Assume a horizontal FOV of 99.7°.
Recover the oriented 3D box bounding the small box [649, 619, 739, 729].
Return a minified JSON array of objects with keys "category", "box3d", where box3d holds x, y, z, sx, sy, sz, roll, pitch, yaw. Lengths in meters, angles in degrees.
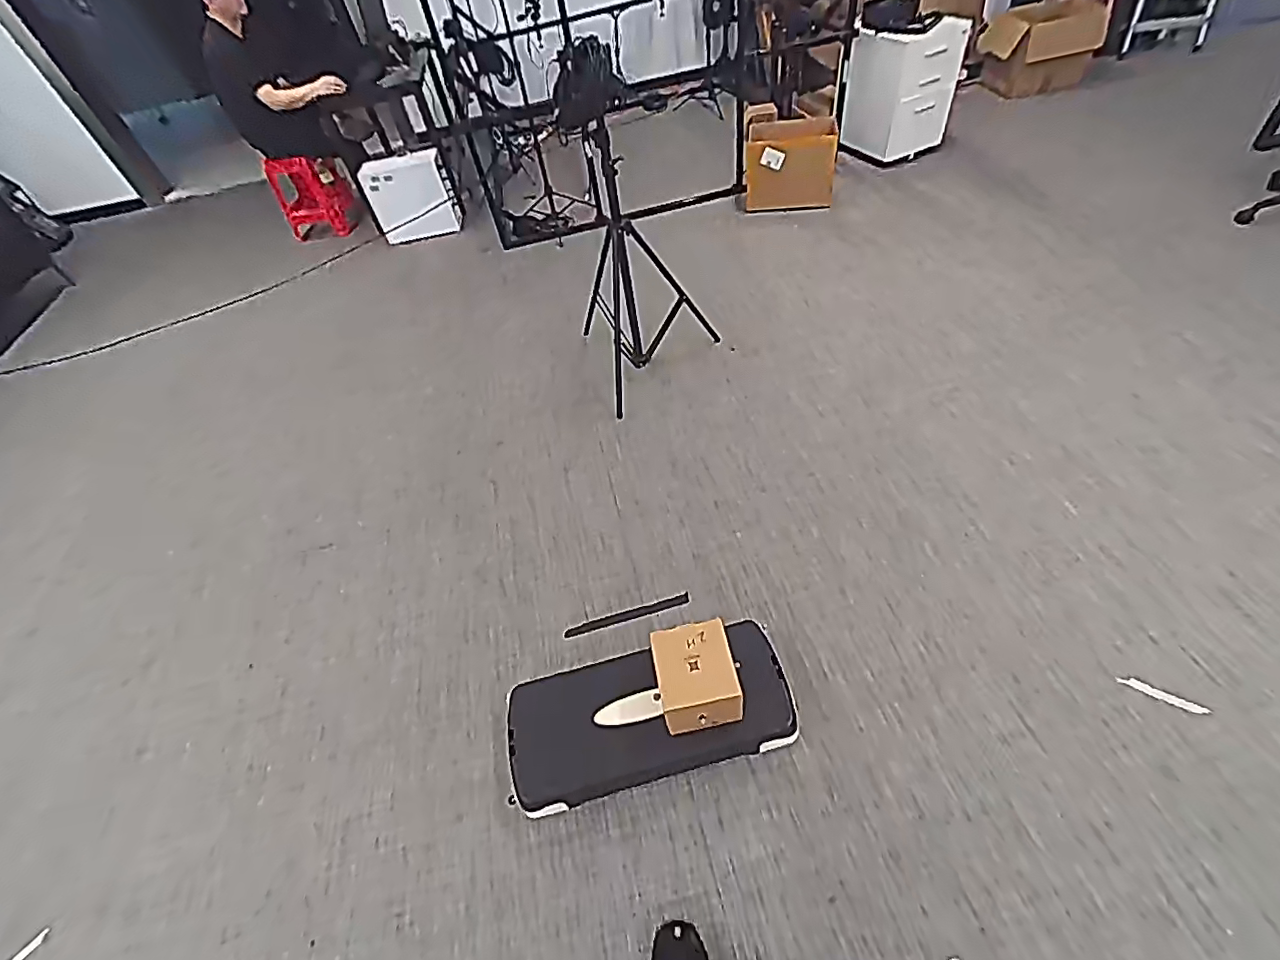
[{"category":"small box","box3d":[0.122,0.438,1.203,0.168,0.176,0.179,-12,49,0]}]
